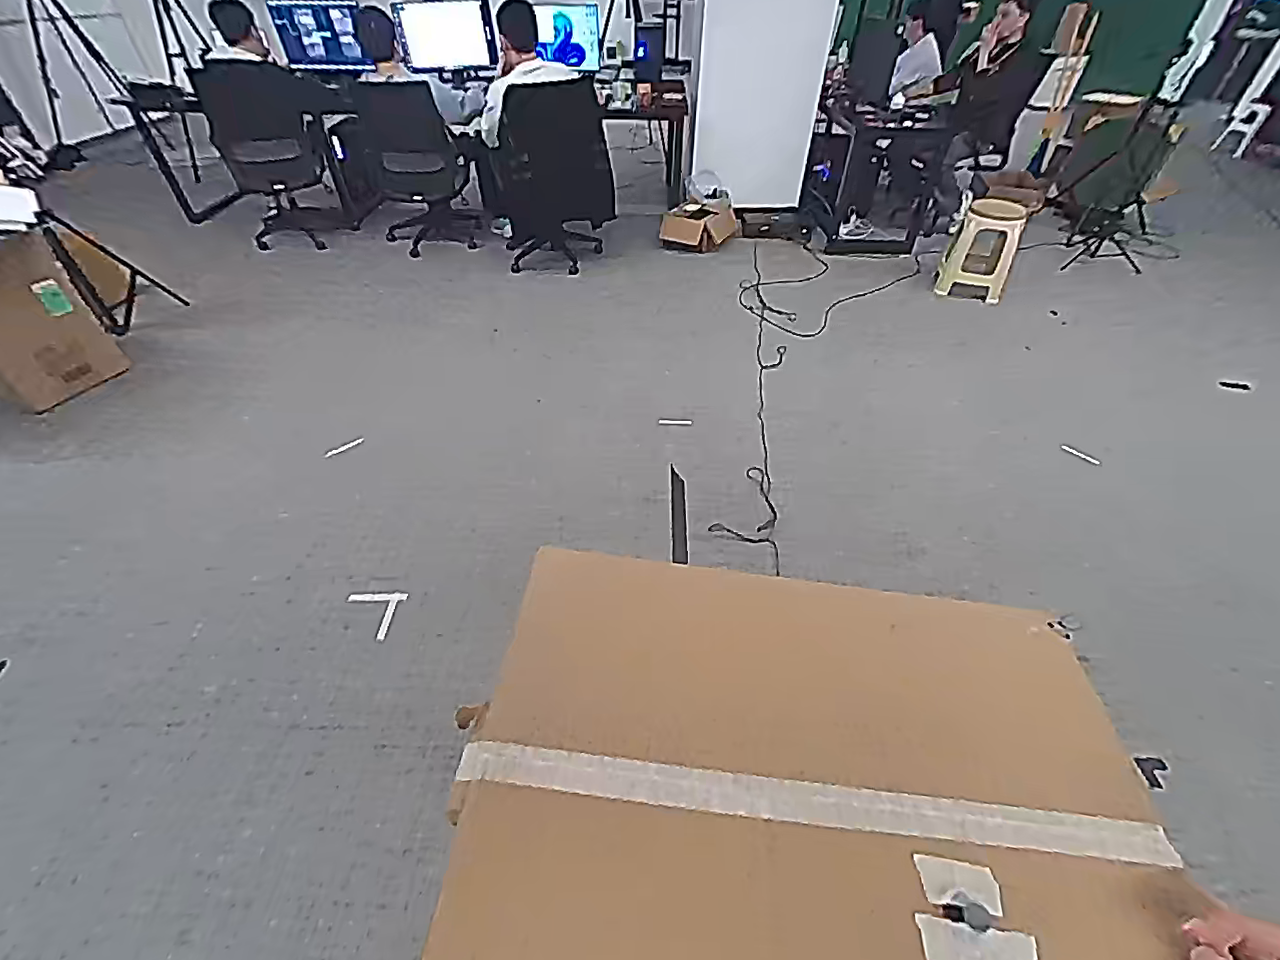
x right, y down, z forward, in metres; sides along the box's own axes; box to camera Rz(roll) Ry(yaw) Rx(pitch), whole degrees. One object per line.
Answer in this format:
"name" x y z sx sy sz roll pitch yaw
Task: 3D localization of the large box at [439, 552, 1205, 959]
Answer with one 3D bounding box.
"large box" 0.090 0.291 0.431 0.408 0.320 0.320 8 46 -1
